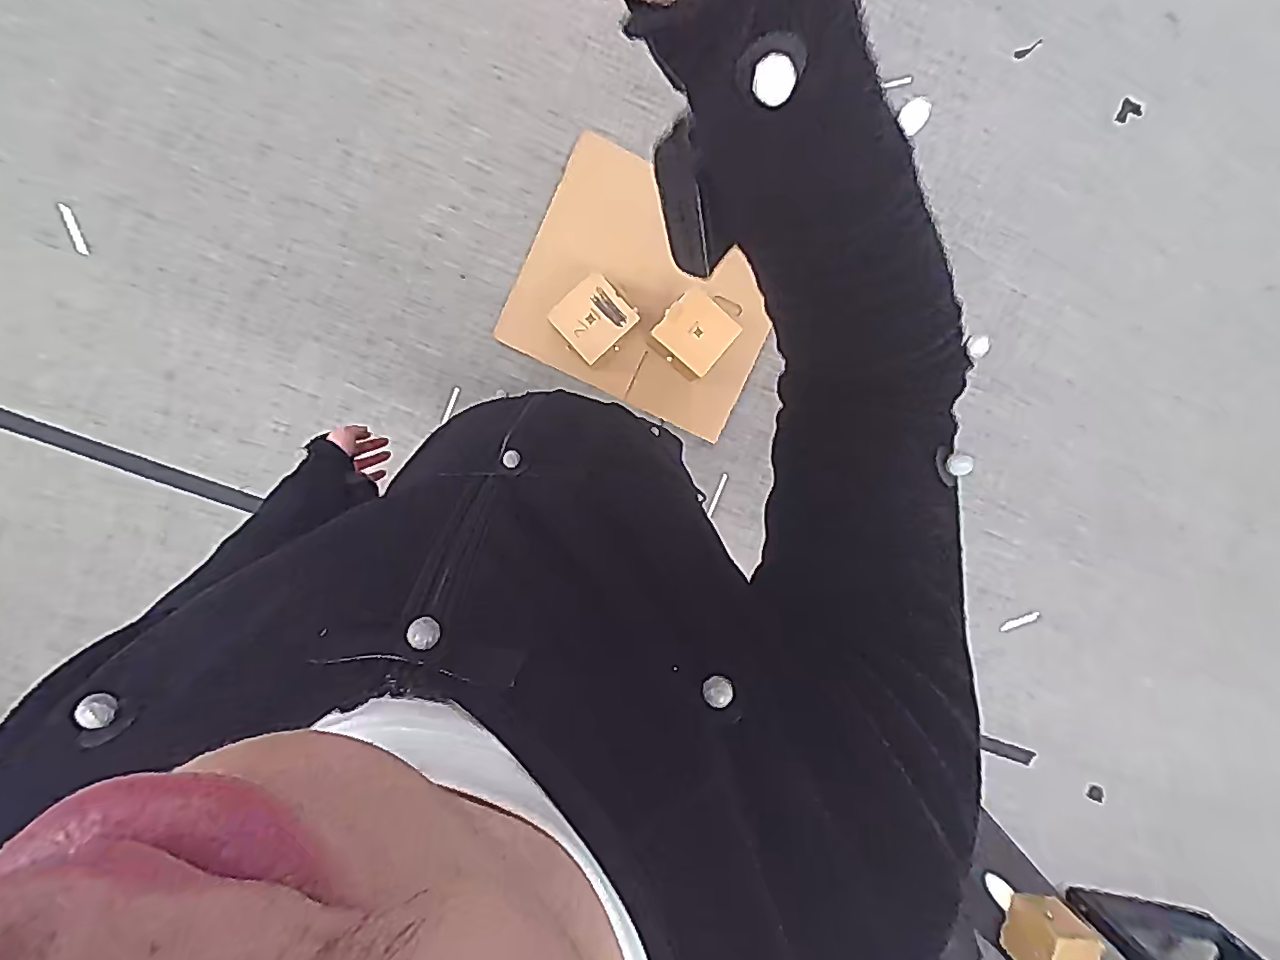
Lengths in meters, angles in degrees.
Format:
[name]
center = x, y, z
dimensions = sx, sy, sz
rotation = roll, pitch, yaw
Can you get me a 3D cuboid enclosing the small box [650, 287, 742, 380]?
[small box]
center = 0.145, -0.386, 1.458
dimensions = 0.179, 0.176, 0.168
rotation = 40, 93, -5
